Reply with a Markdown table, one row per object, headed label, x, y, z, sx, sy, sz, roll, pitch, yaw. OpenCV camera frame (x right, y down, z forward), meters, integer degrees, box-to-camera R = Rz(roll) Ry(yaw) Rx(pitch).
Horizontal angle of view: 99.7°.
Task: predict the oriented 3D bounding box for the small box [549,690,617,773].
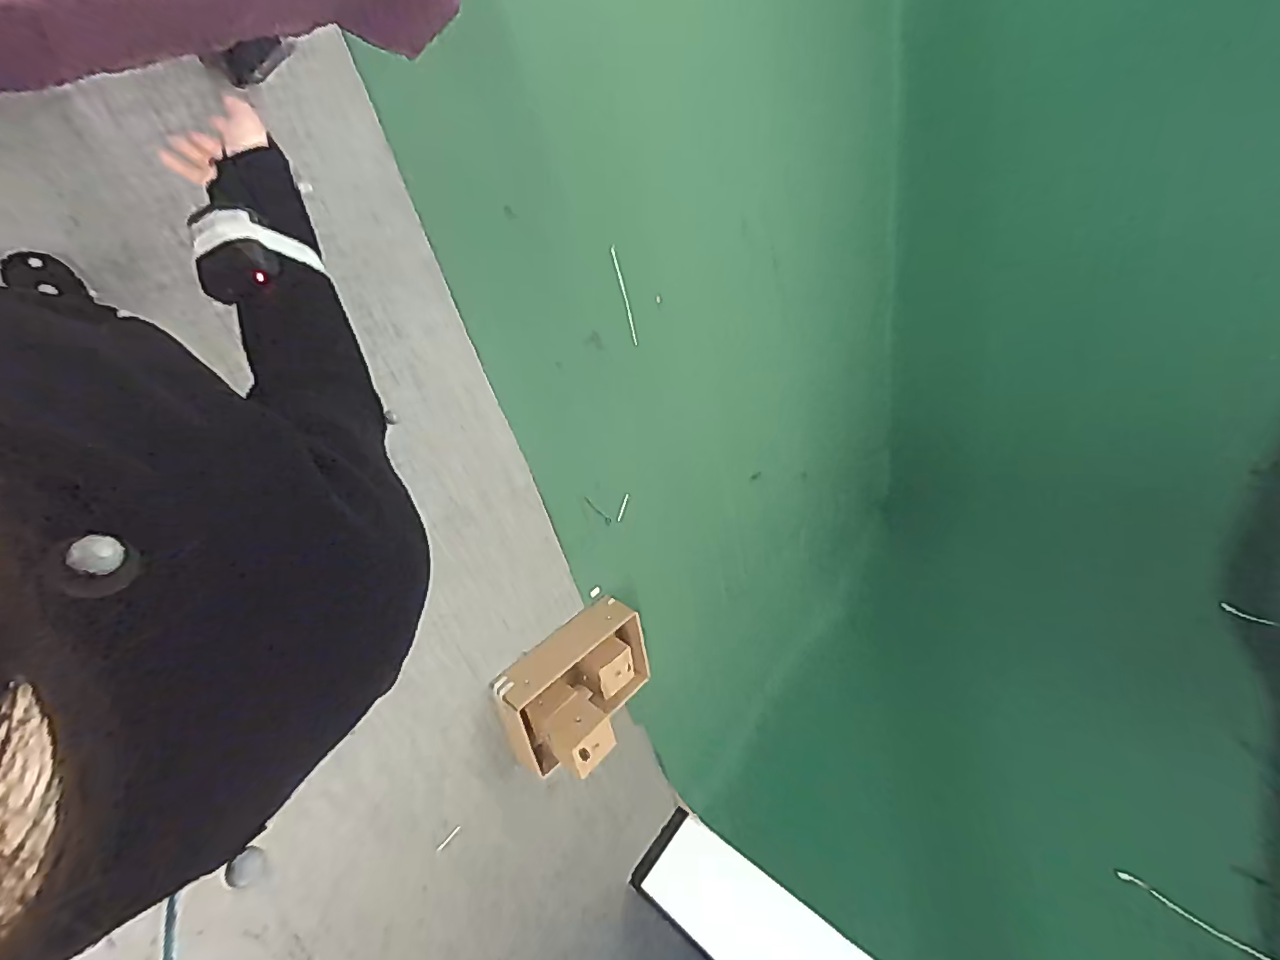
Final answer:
| label | x | y | z | sx | sy | sz | roll | pitch | yaw |
| --- | --- | --- | --- | --- | --- | --- | --- | --- | --- |
| small box | -0.214 | 0.912 | 1.971 | 0.179 | 0.176 | 0.168 | -34 | 126 | -36 |
